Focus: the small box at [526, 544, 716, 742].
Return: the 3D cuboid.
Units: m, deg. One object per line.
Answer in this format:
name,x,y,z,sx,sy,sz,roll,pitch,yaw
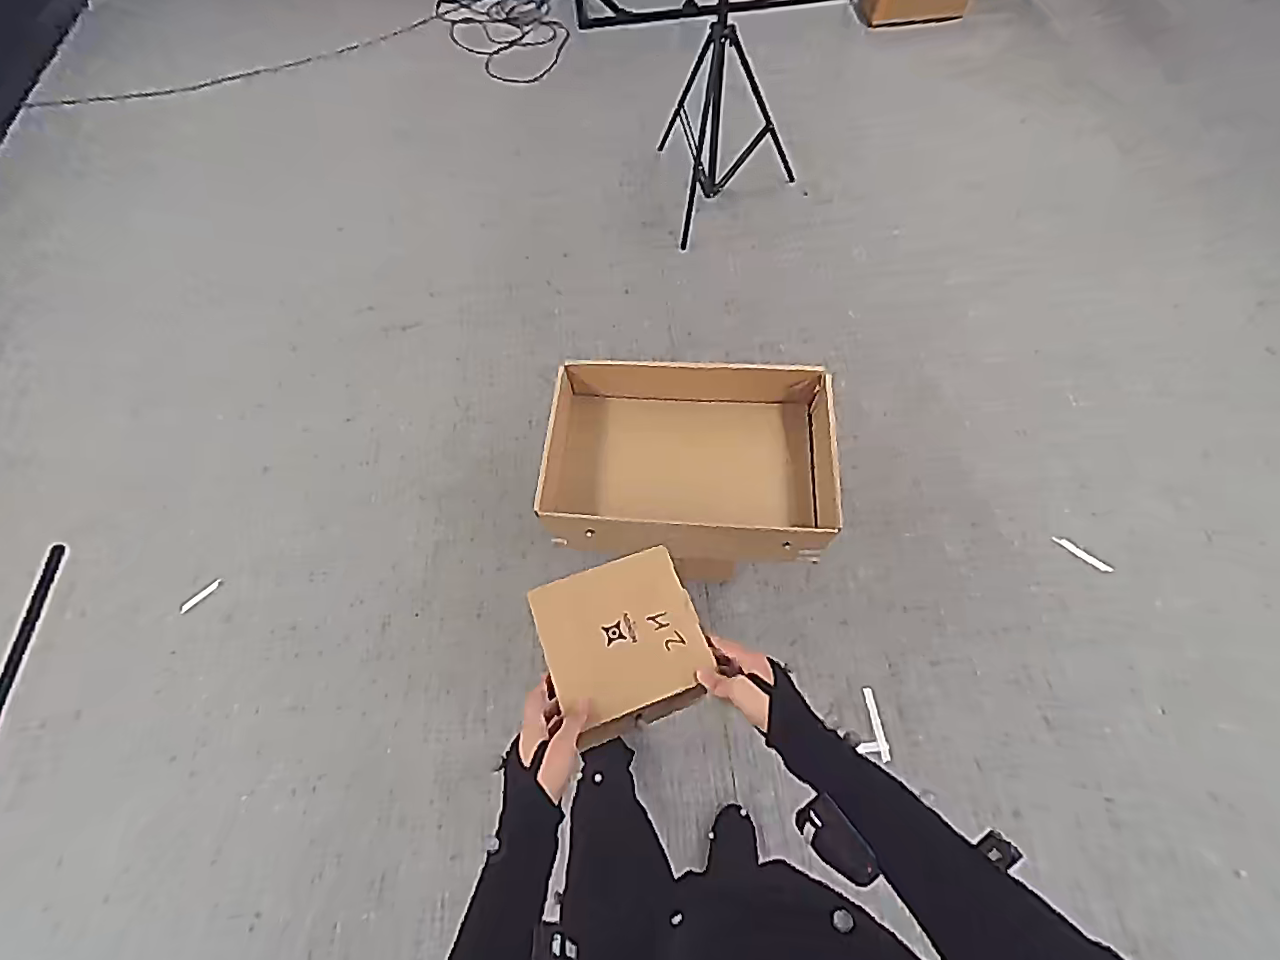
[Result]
small box,-0.027,0.208,0.671,0.179,0.176,0.168,-16,61,-13
